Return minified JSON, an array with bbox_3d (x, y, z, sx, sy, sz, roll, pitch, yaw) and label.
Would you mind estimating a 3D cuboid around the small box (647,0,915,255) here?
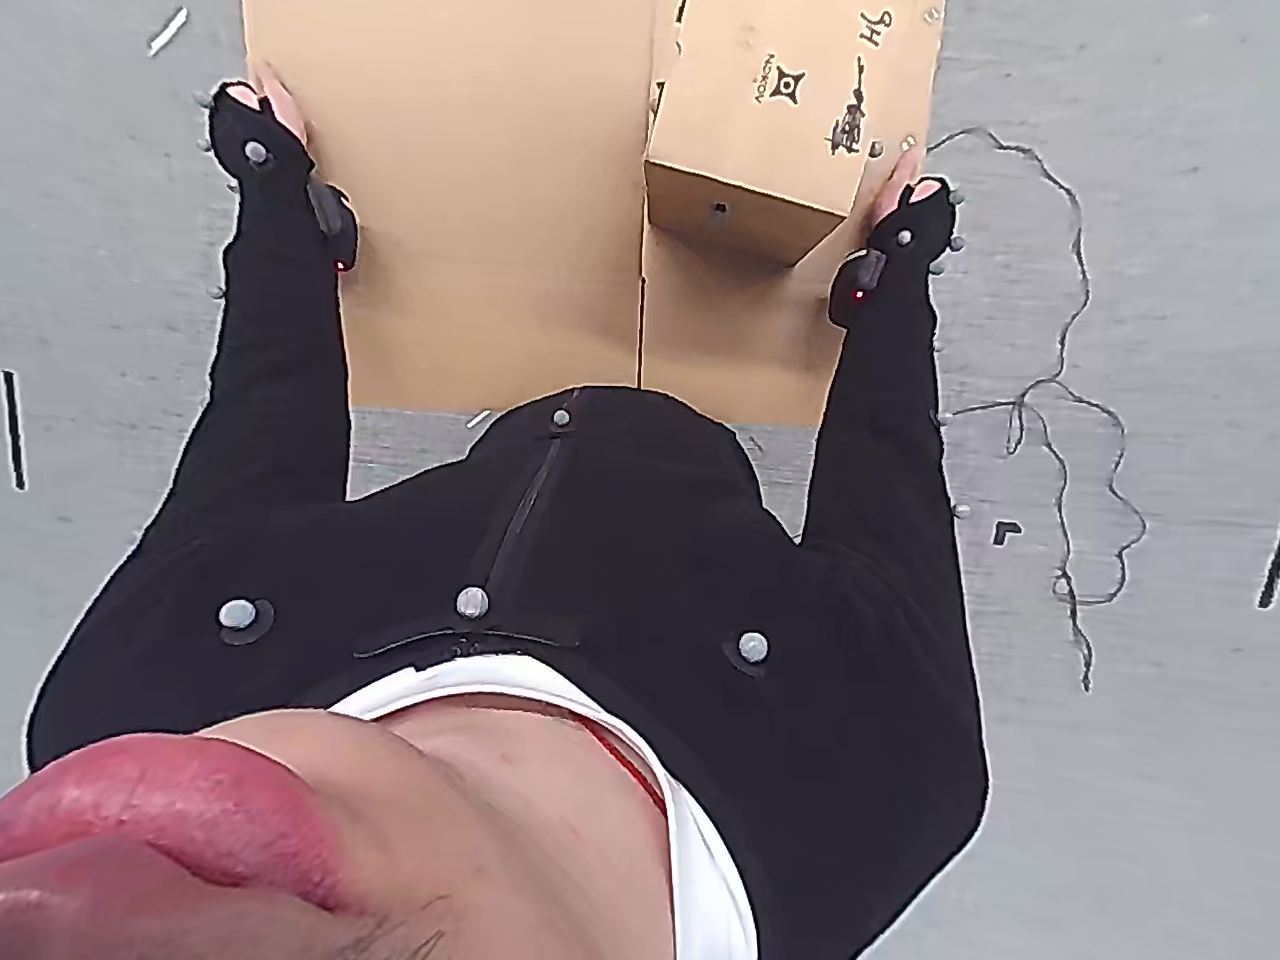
[{"bbox_3d":[0.114,-0.332,0.513,0.179,0.176,0.168,16,100,0],"label":"small box"}]
